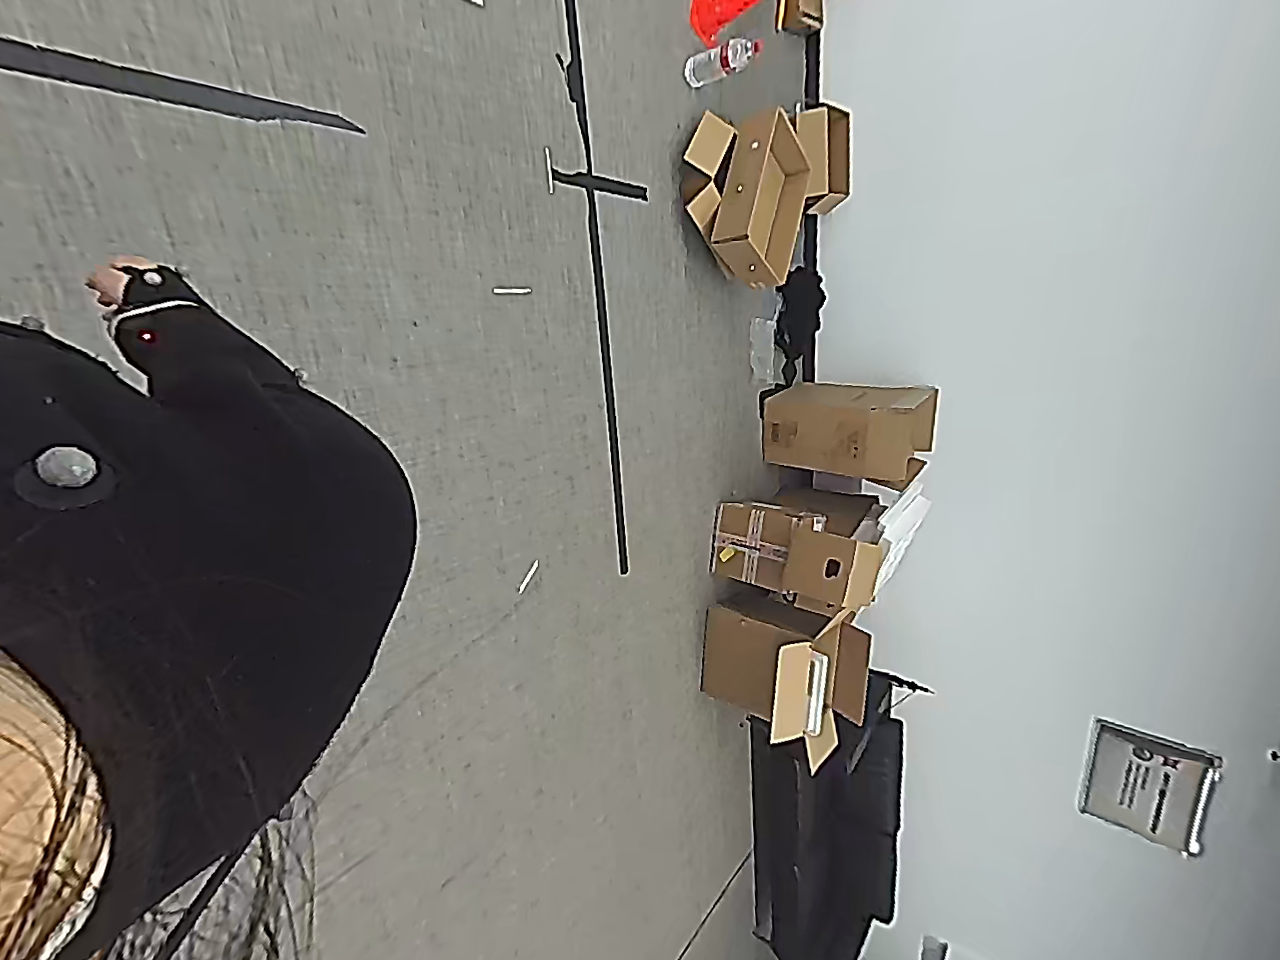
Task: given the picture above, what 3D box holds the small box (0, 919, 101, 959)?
[{"bbox_3d":[-1.191,1.028,1.068,0.168,0.176,0.179,-25,116,-45],"label":"small box"}]
